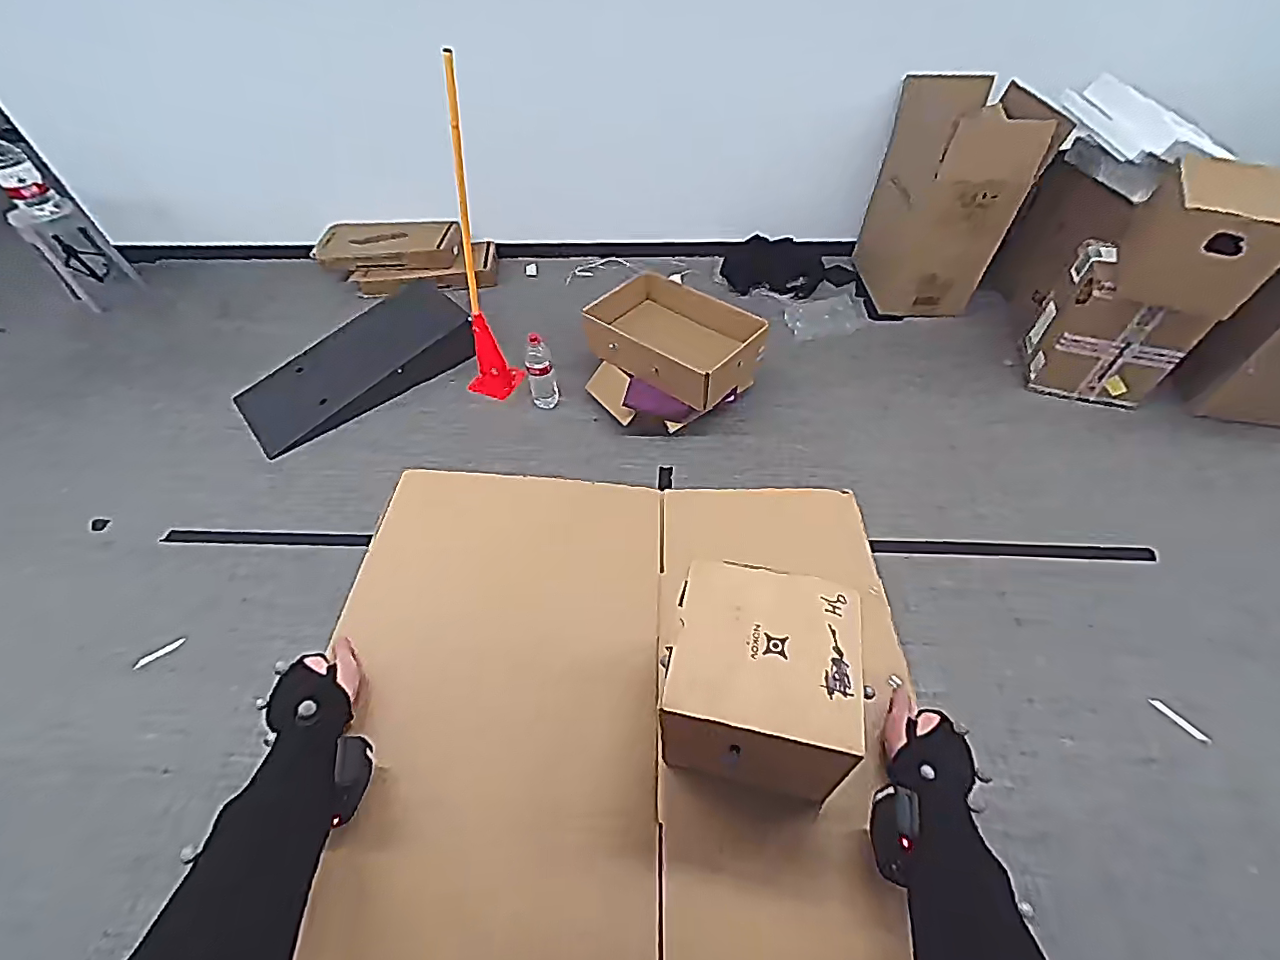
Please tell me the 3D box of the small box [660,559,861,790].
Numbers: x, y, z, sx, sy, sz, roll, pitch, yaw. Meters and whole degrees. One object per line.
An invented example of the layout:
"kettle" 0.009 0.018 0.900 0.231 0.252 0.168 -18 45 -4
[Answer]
"small box" 0.127 0.209 0.578 0.179 0.176 0.168 8 50 12
